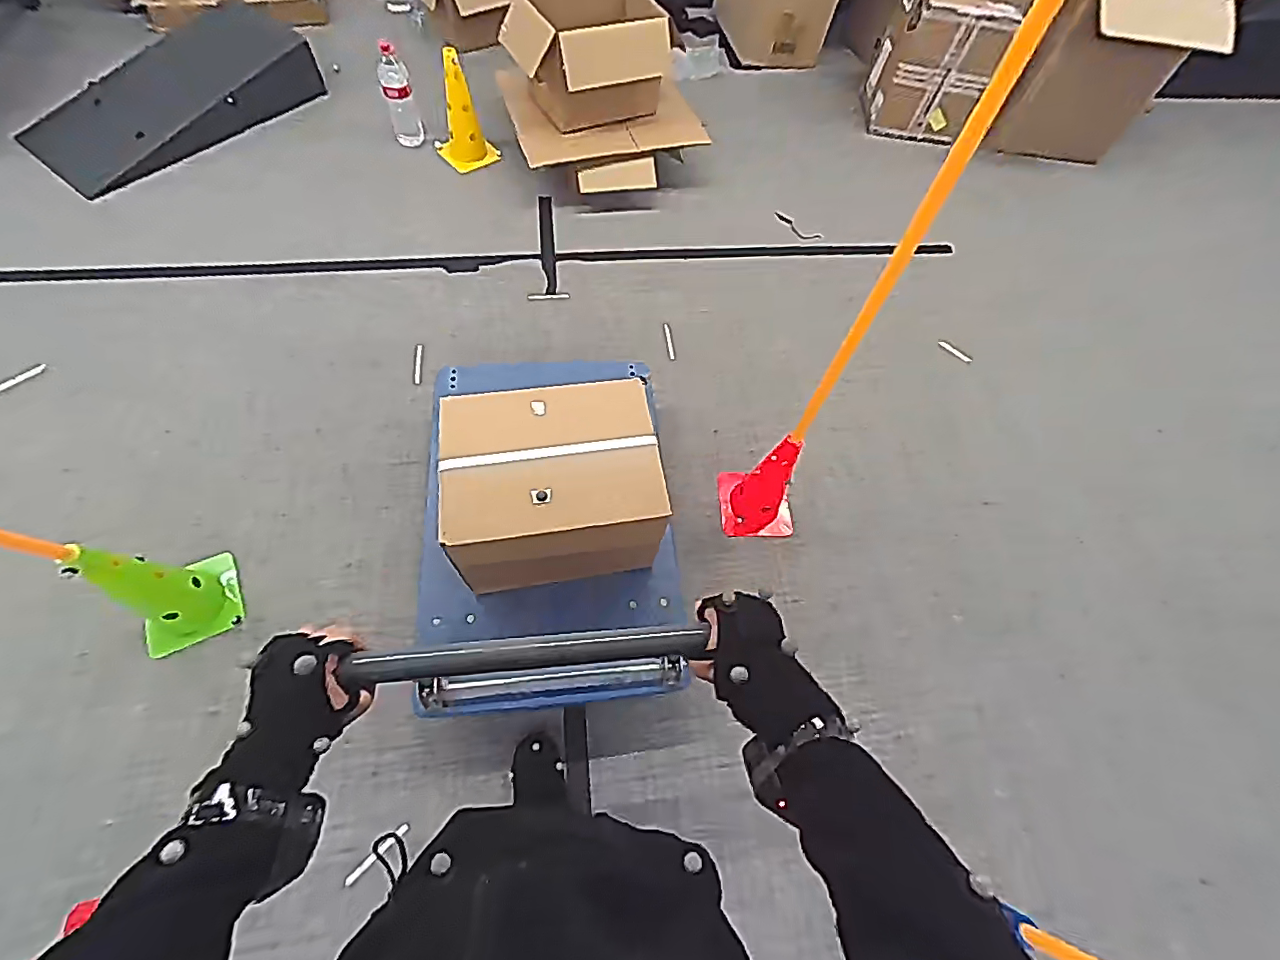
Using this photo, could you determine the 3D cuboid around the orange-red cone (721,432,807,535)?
[{"bbox_3d":[0.346,-0.016,1.383,0.199,0.360,0.198,2,63,-6],"label":"orange-red cone"}]
